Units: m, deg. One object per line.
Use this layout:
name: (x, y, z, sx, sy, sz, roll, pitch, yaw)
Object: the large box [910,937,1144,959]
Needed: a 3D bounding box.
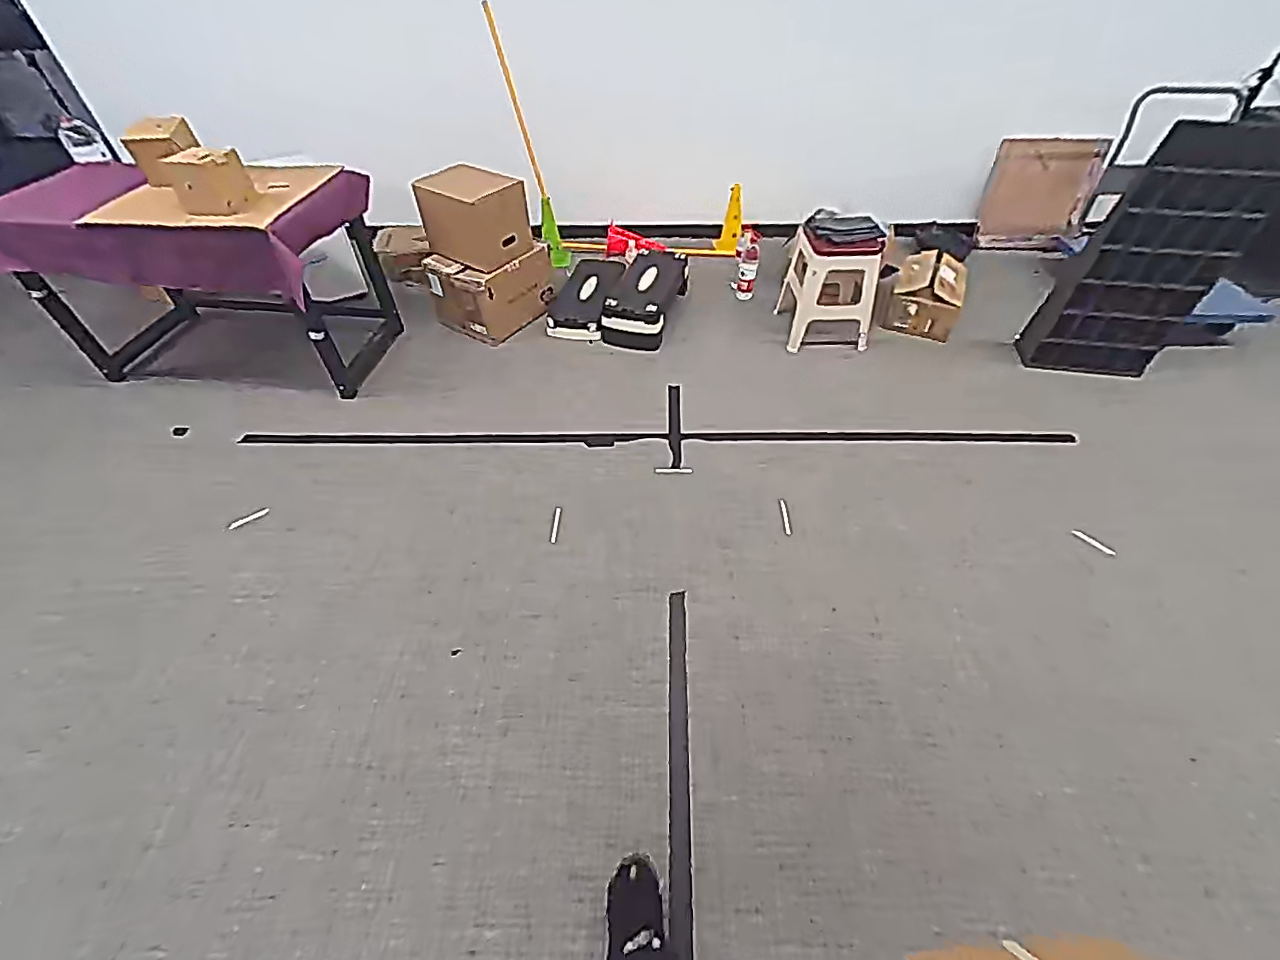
large box: (0.555, 0.772, 0.565, 0.320, 0.408, 0.320, -5, 73, -2)
